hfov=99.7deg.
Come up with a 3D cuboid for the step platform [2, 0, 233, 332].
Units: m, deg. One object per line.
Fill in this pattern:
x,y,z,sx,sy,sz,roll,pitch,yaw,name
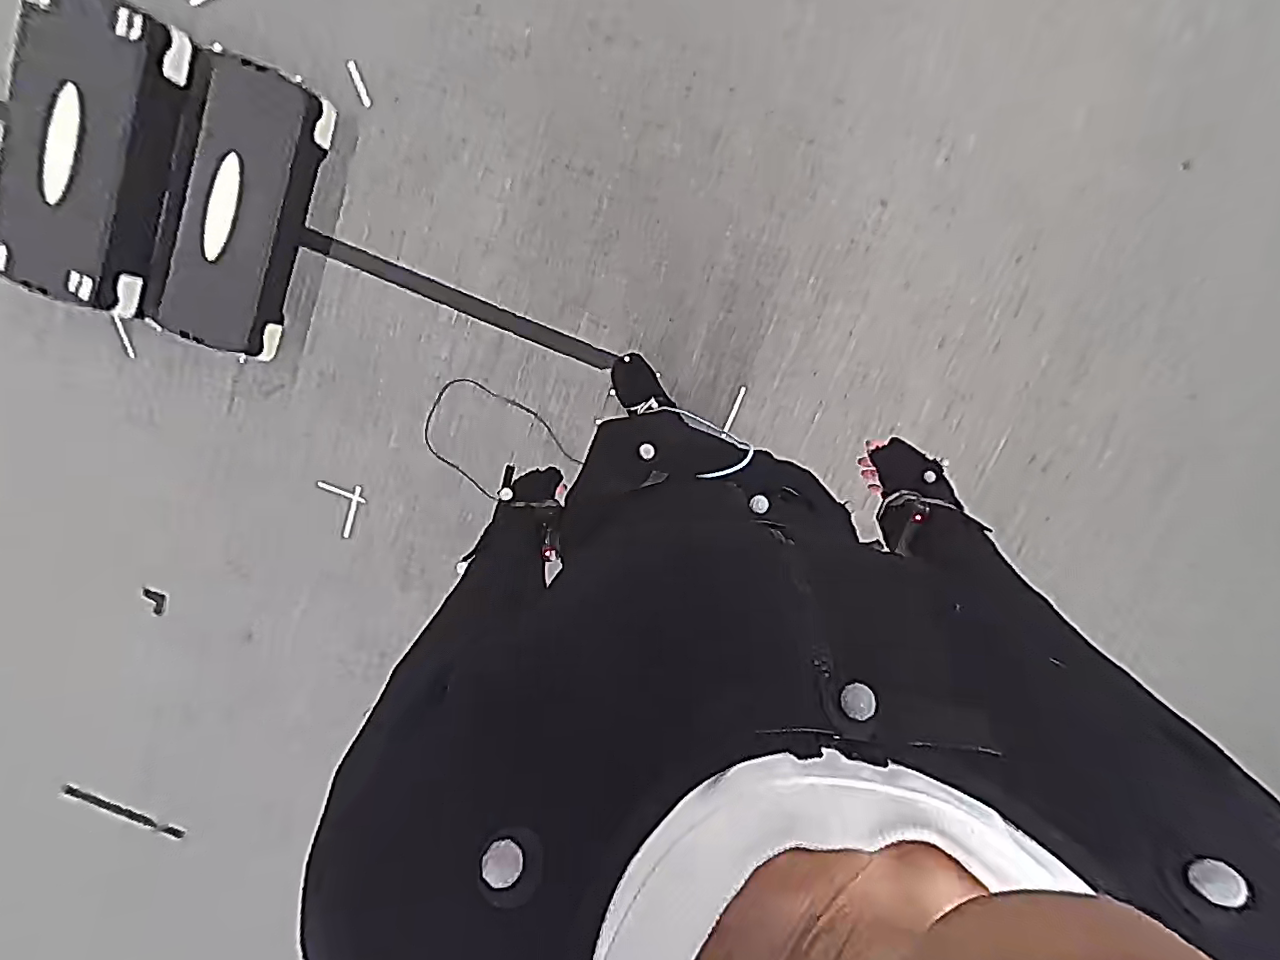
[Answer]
-1.236,-0.717,1.285,0.286,0.204,0.684,20,99,-2,step platform
